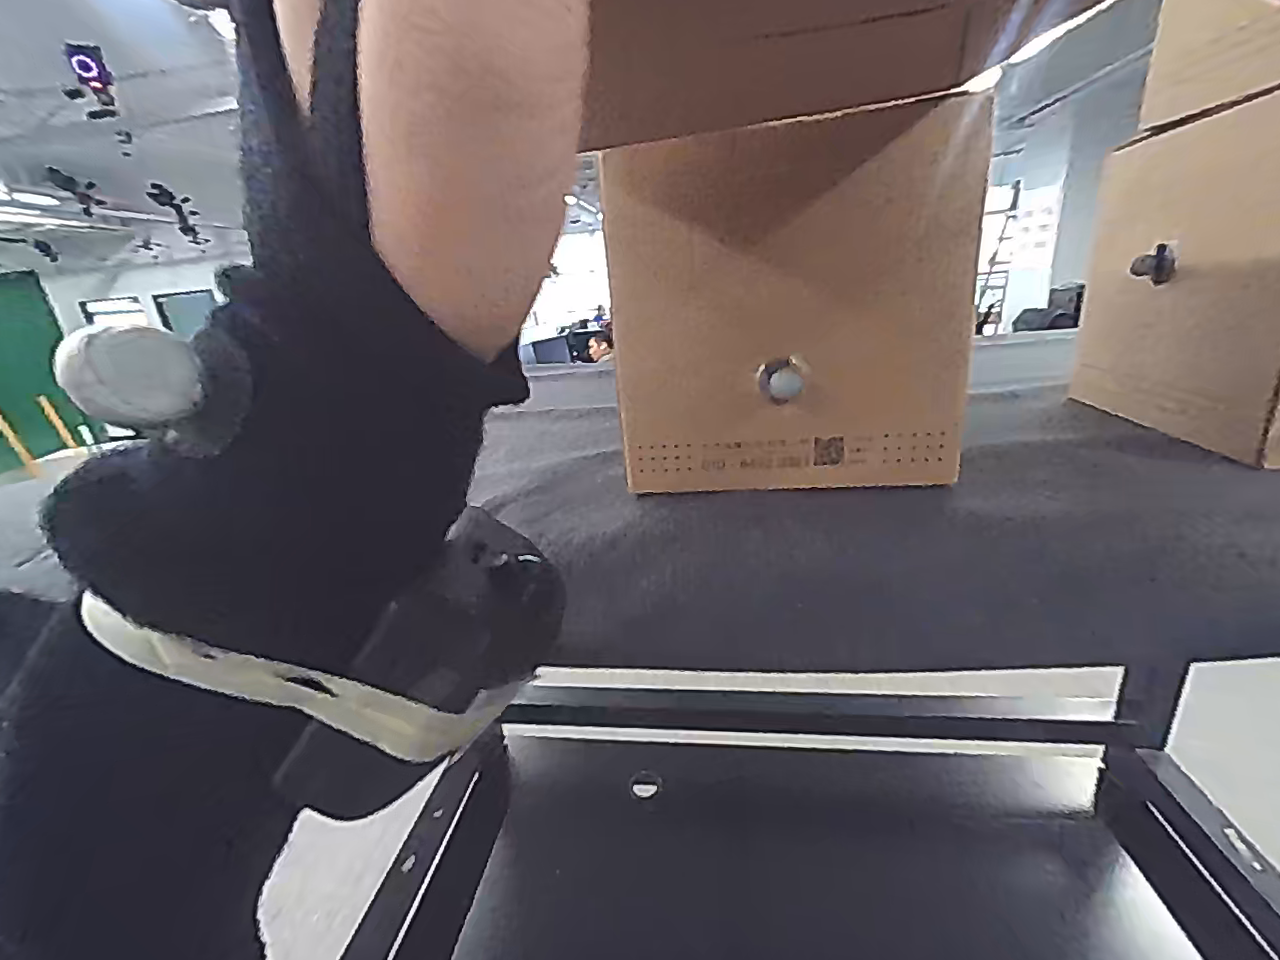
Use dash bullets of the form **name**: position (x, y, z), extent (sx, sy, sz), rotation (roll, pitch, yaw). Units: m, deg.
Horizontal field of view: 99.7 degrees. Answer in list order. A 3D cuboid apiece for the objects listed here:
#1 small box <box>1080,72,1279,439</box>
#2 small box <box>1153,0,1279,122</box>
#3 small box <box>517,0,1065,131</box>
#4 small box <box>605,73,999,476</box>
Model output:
- **small box**: position (0.377, -0.116, 0.284), extent (0.168, 0.176, 0.179), rotation (-1, 18, 13)
- **small box**: position (0.358, -0.258, 0.201), extent (0.168, 0.176, 0.179), rotation (-2, 19, 7)
- **small box**: position (0.042, -0.195, 0.105), extent (0.168, 0.176, 0.179), rotation (-10, 20, -2)
- **small box**: position (0.081, -0.106, 0.329), extent (0.168, 0.176, 0.179), rotation (-2, 18, 9)
